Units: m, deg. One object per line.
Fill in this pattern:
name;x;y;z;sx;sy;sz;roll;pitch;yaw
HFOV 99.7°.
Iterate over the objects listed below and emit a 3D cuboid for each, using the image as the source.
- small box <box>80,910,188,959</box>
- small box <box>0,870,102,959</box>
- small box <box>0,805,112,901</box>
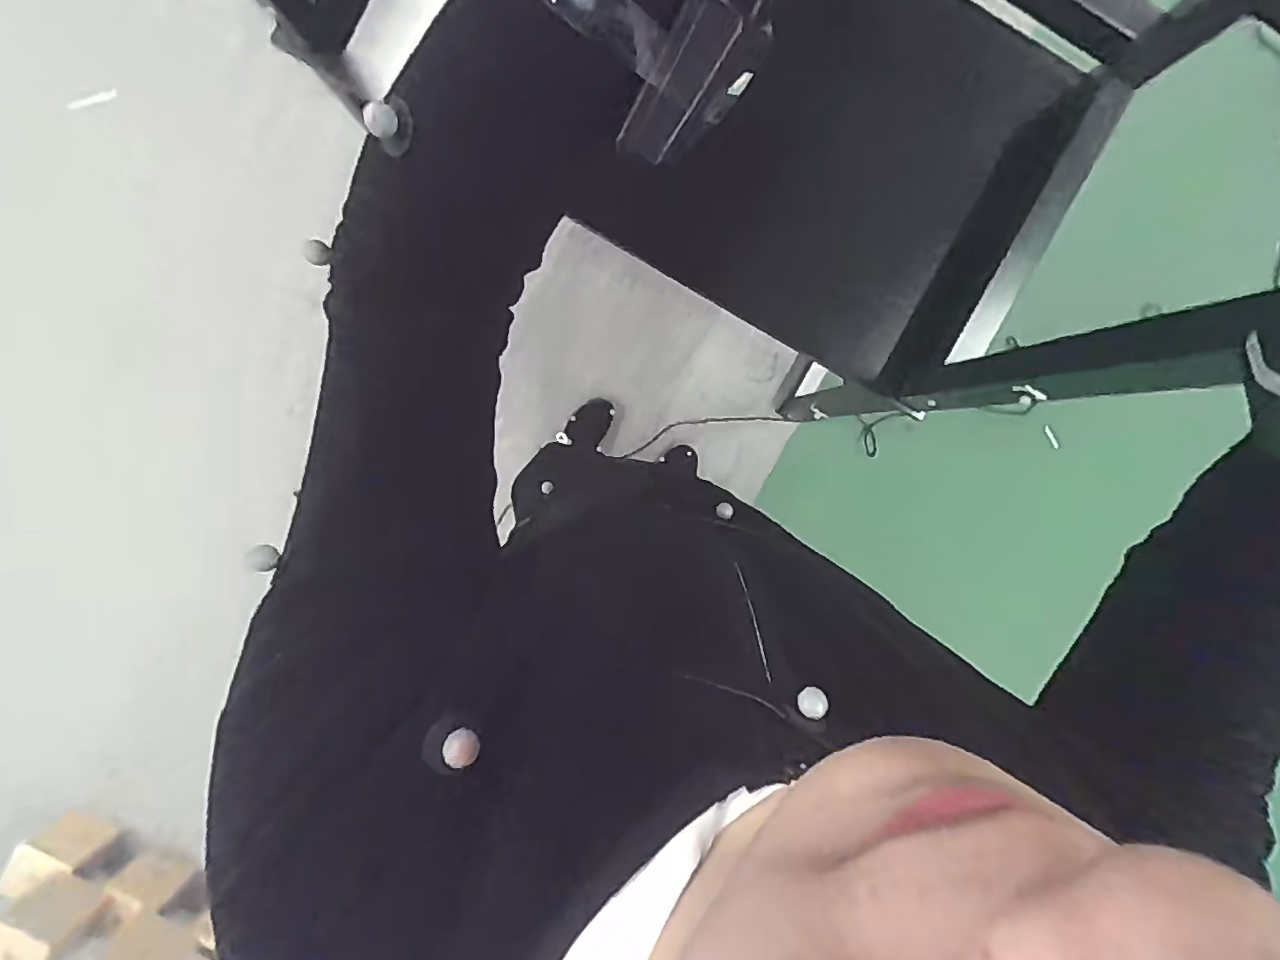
small box;-1.411;1.337;1.478;0.179;0.176;0.168;32;94;-4
small box;-1.639;1.215;1.464;0.179;0.176;0.168;29;94;-1
small box;-1.755;1.126;1.619;0.168;0.176;0.179;31;94;-4
